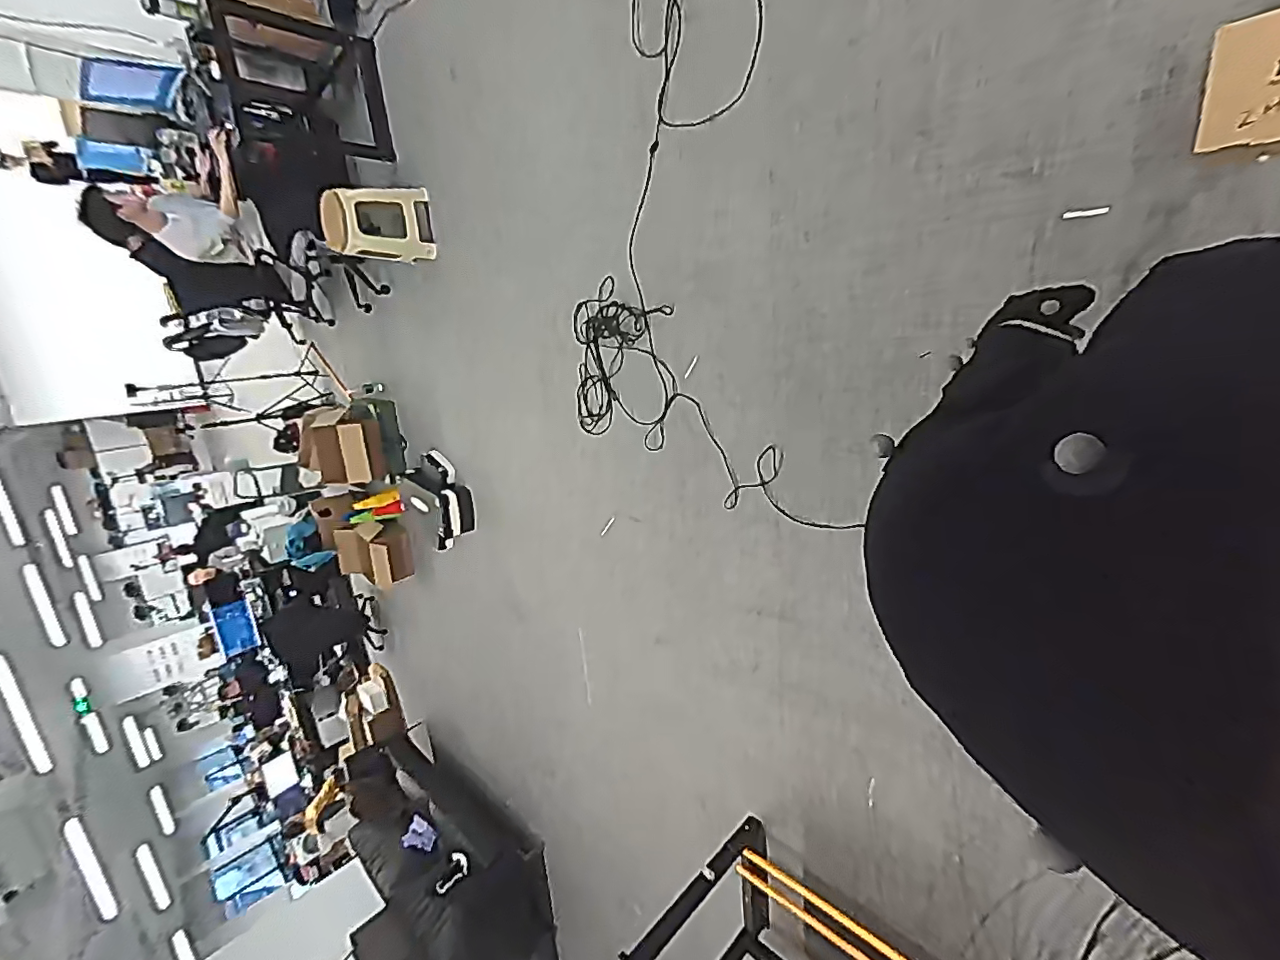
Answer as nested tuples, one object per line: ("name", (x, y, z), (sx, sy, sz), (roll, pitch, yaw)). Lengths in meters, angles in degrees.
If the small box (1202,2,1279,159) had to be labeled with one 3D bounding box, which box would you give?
("small box", (1.013, -0.629, 0.844), (0.168, 0.176, 0.179), (12, 113, 44))
